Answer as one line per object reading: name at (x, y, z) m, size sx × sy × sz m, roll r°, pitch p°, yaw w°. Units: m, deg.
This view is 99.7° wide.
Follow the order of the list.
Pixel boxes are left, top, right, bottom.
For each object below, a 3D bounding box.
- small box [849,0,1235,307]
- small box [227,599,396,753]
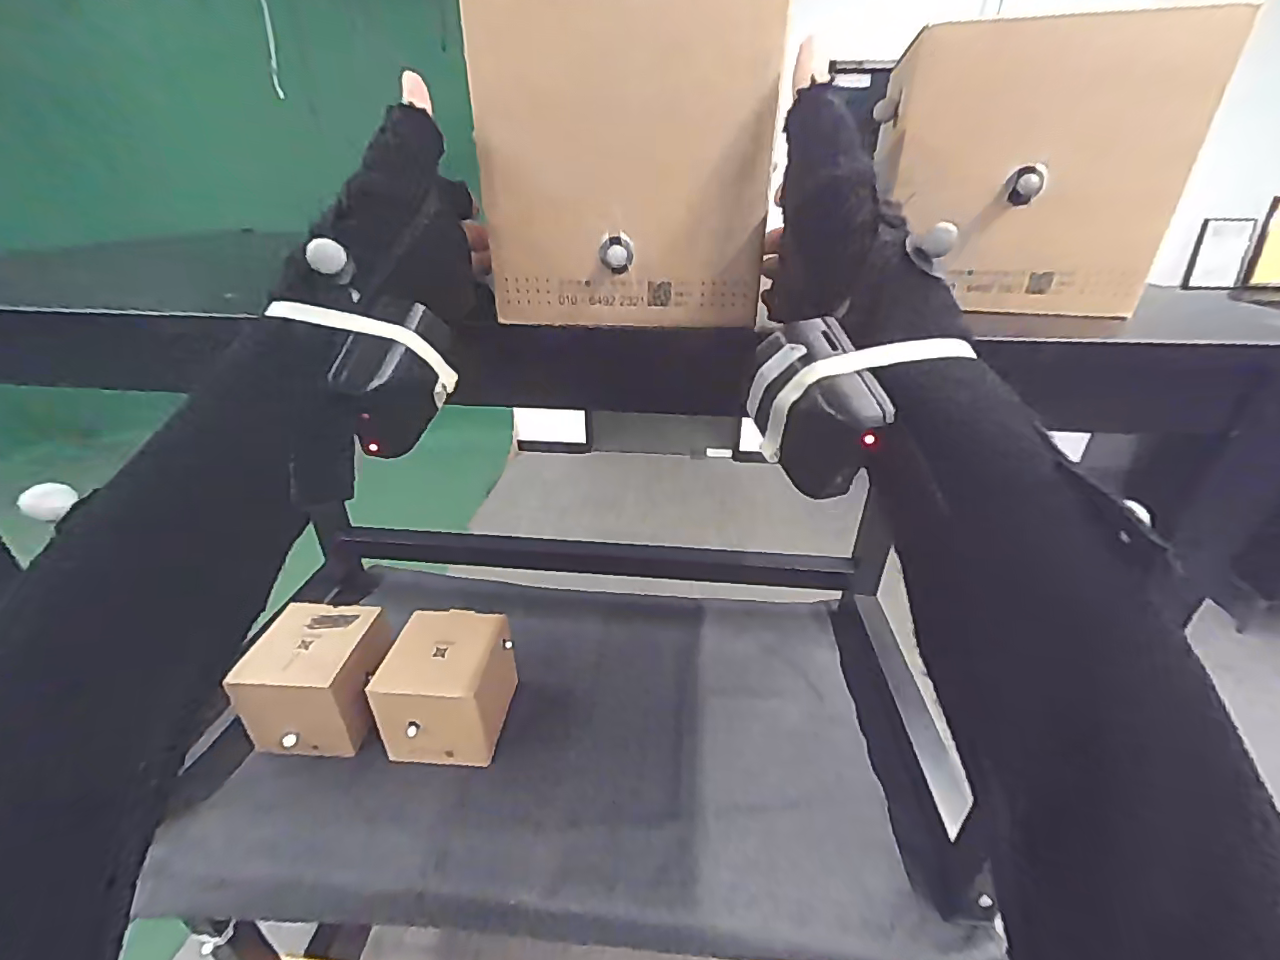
small box at (0.262, -0.233, 0.411) m, size 0.168 × 0.176 × 0.179 m, roll 8°, pitch 30°, yaw 14°
small box at (-0.533, 0.325, 0.911) m, size 0.168 × 0.176 × 0.179 m, roll 2°, pitch 29°, yaw 3°
